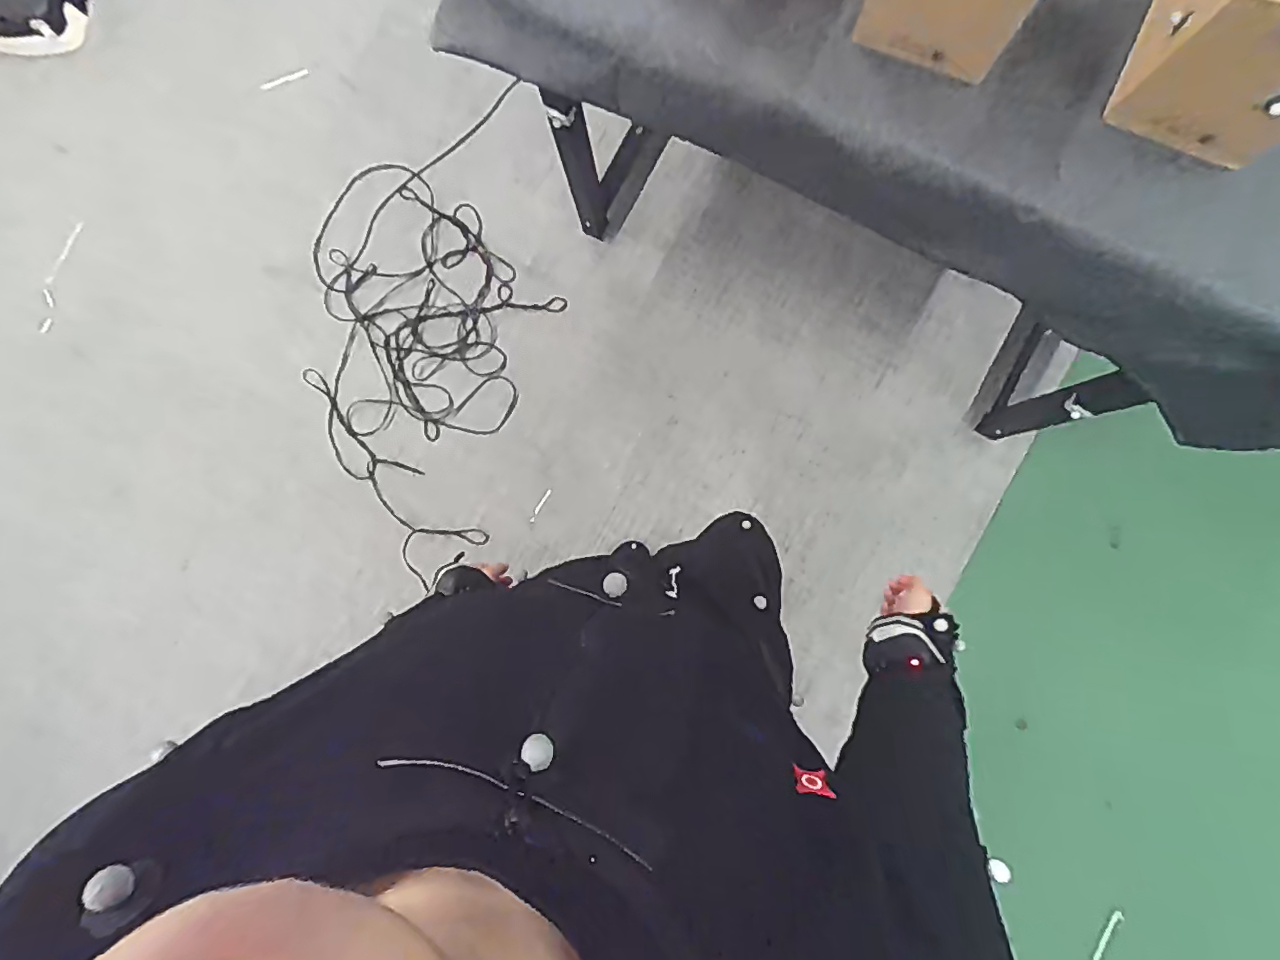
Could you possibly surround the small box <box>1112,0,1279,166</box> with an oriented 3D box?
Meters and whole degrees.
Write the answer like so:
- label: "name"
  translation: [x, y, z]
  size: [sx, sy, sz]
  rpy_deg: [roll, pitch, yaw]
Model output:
- label: "small box"
  translation: [0.657, -0.476, 0.565]
  size: [0.168, 0.176, 0.179]
  rpy_deg: [24, 86, 3]
